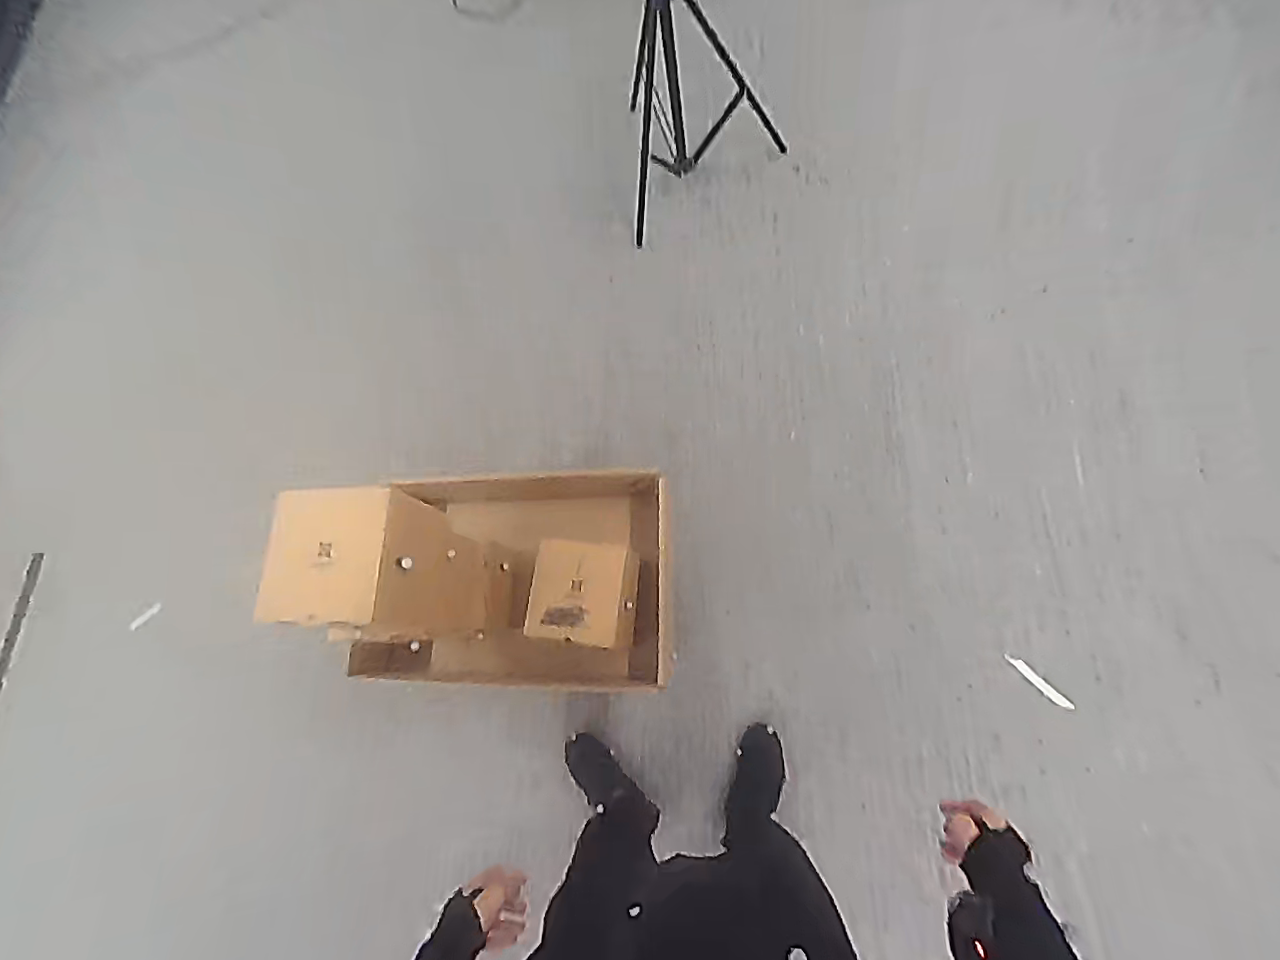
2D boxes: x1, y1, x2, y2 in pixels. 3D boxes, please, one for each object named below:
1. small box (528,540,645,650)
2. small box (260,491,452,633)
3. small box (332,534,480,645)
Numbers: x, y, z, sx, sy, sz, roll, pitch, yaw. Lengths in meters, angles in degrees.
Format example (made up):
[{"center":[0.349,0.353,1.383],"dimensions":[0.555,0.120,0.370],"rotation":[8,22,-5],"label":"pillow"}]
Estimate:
[{"center":[-0.092,0.220,1.023],"dimensions":[0.168,0.176,0.179],"rotation":[4,74,12],"label":"small box"},{"center":[-0.383,0.123,0.764],"dimensions":[0.168,0.176,0.179],"rotation":[-3,73,8],"label":"small box"},{"center":[-0.384,0.185,0.918],"dimensions":[0.168,0.176,0.179],"rotation":[-6,73,7],"label":"small box"}]
